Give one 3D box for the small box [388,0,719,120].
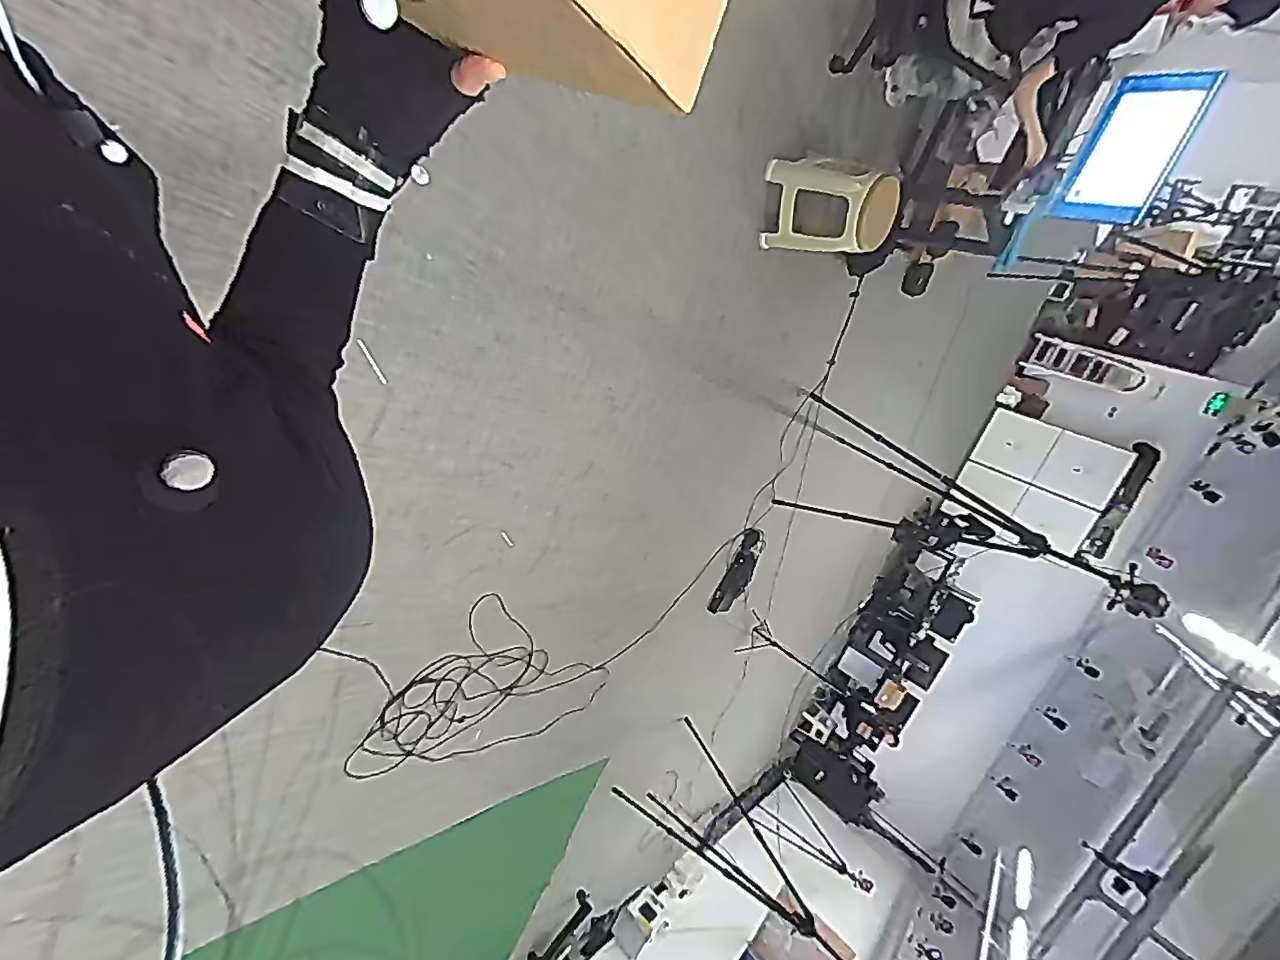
[{"bbox_3d":[-0.056,-0.278,0.200,0.179,0.176,0.168,-18,136,-60],"label":"small box"}]
